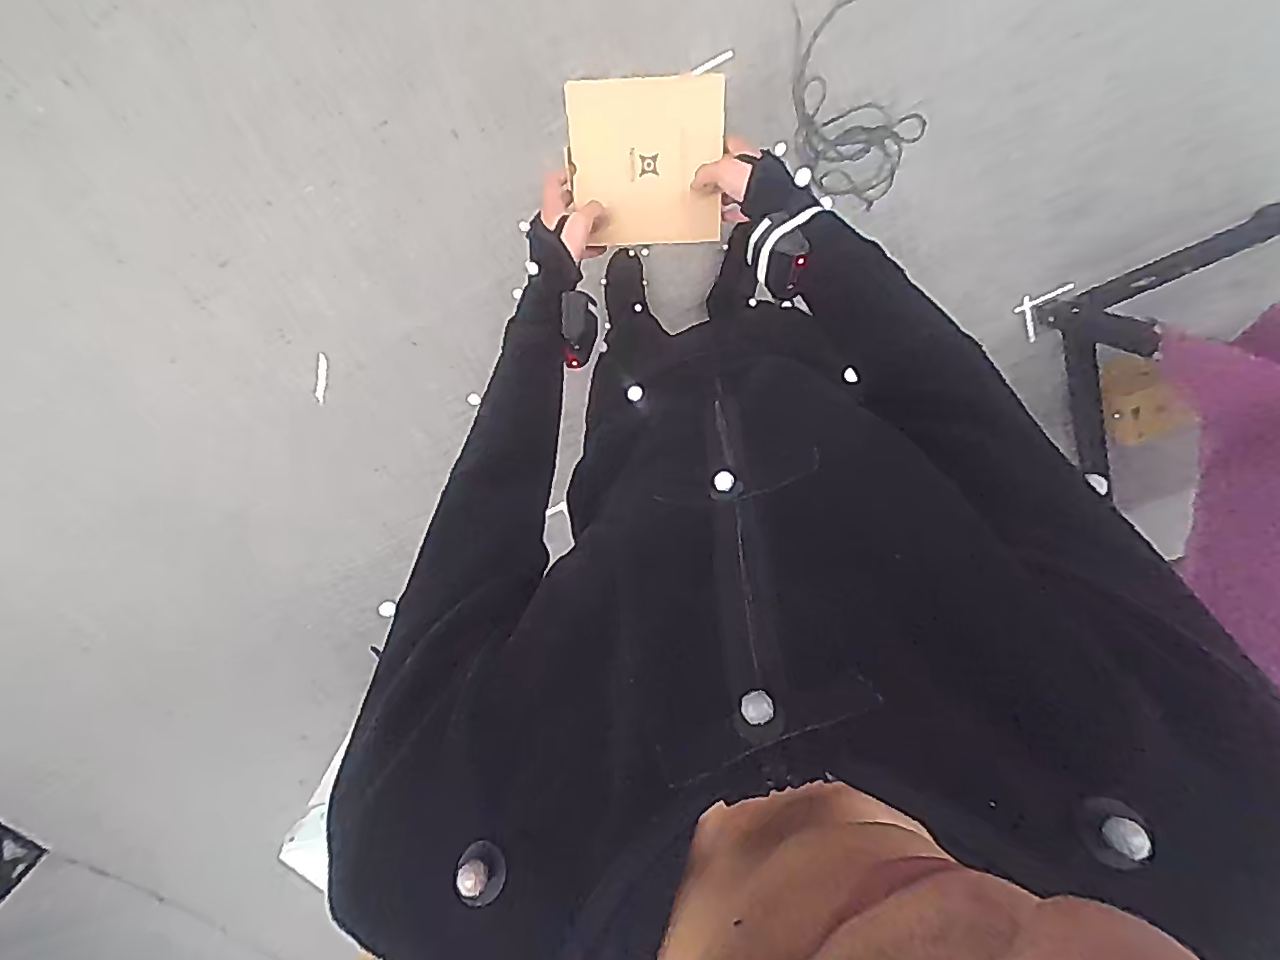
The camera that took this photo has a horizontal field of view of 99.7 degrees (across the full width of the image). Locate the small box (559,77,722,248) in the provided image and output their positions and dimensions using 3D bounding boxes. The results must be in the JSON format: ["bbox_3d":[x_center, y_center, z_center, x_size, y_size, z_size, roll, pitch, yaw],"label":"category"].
[{"bbox_3d":[0.007,-0.382,0.676,0.179,0.176,0.168,0,115,4],"label":"small box"}]
